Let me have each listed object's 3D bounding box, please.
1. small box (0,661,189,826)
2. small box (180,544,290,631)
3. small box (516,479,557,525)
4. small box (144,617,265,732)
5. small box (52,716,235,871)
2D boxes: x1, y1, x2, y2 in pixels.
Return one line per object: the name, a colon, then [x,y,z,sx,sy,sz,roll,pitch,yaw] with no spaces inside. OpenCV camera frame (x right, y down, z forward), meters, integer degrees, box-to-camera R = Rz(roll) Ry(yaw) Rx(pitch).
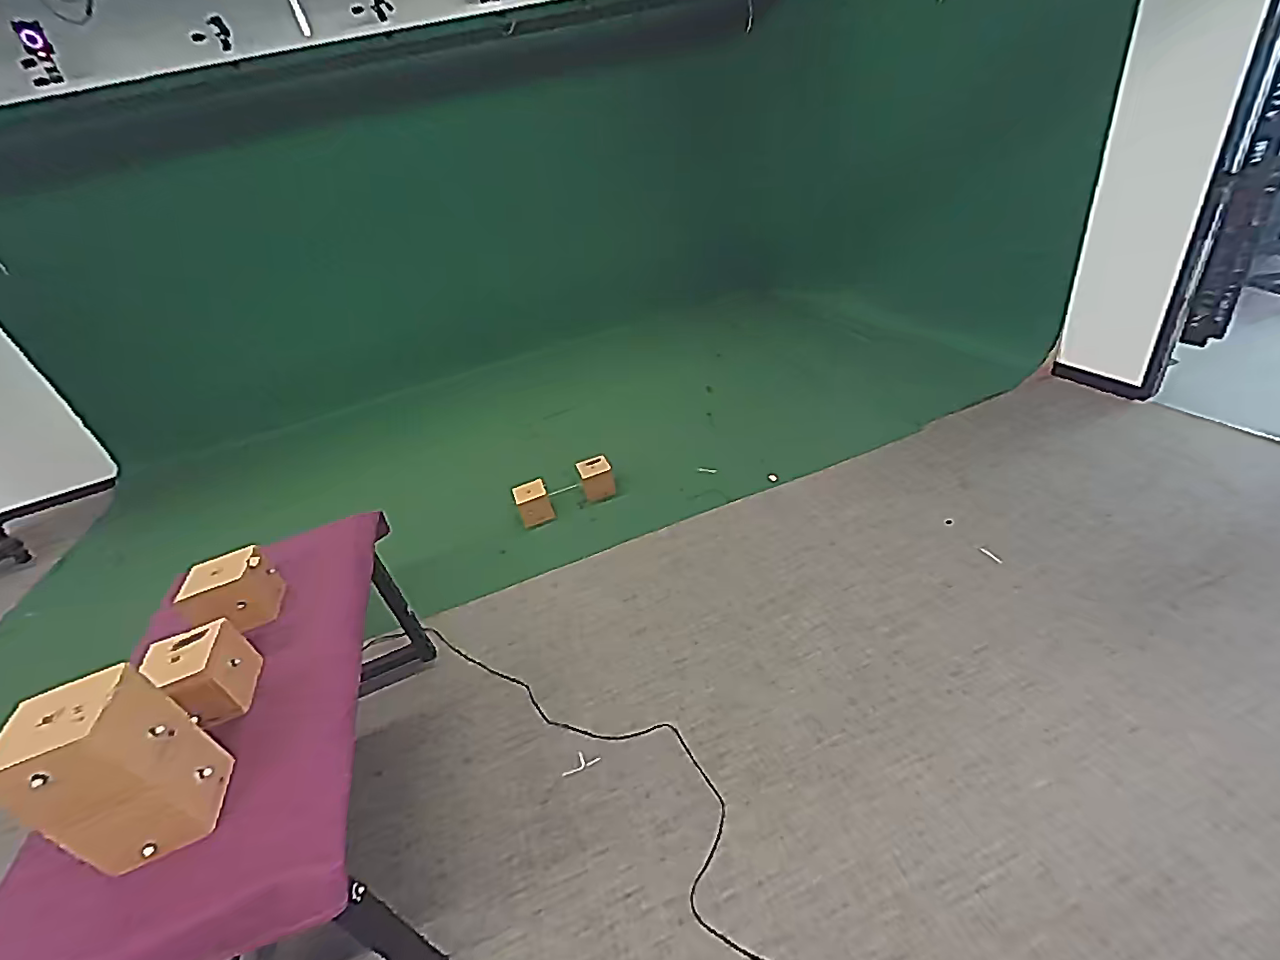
small box: [-0.964,0.465,0.956,0.179,0.176,0.168,-20,34,-12]
small box: [-1.141,0.320,1.544,0.179,0.176,0.168,-21,33,-10]
small box: [-0.564,0.129,2.956,0.168,0.176,0.179,-21,33,-10]
small box: [-1.031,0.467,1.282,0.168,0.176,0.179,-21,35,-11]
small box: [-0.933,0.602,1.043,0.179,0.176,0.168,-20,33,-12]
